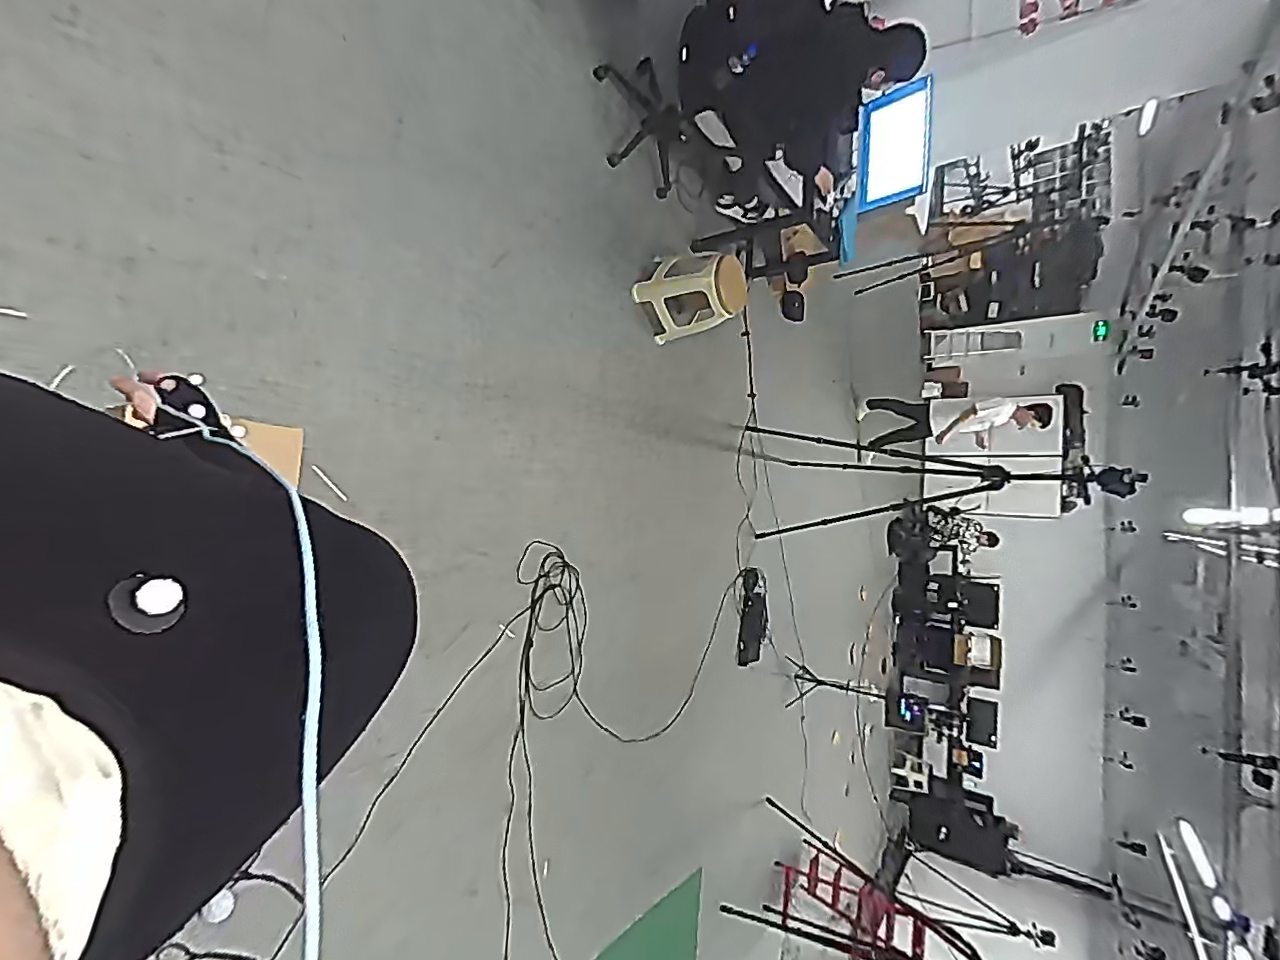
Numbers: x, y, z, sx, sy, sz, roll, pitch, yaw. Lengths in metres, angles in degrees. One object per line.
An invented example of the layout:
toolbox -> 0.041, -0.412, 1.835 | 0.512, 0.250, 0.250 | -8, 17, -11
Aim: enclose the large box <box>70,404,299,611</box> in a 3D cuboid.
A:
large box -> -1.024, 0.053, 1.223 | 0.320, 0.320, 0.408 | 8, 86, -54
